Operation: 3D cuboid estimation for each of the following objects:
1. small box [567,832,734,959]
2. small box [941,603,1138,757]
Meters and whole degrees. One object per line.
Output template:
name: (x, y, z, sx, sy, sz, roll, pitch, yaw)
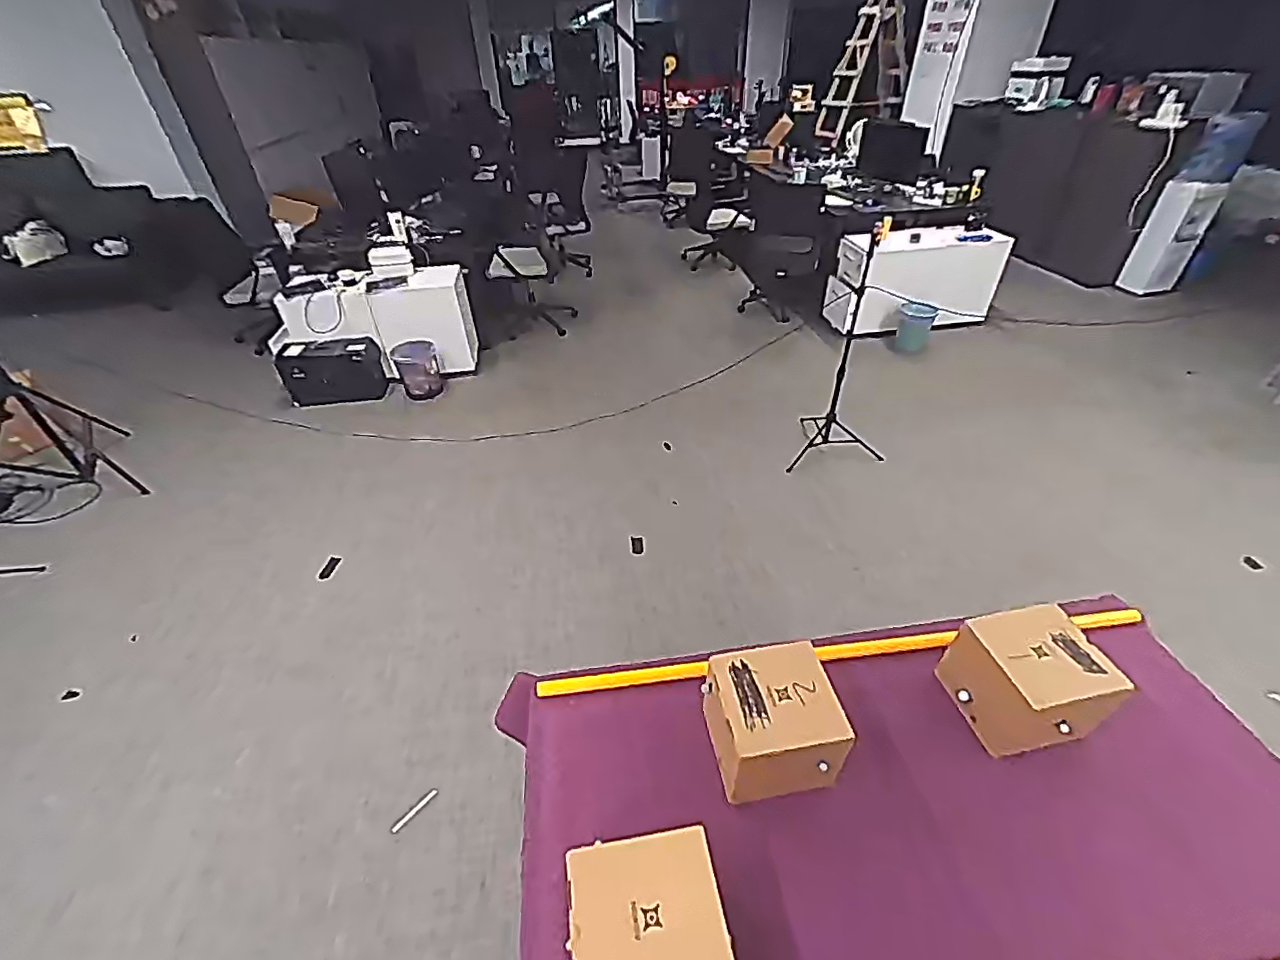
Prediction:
small box: (0.009, 0.562, 0.655, 0.179, 0.176, 0.168, -7, 38, -7)
small box: (0.648, 0.334, 0.905, 0.179, 0.176, 0.168, -9, 40, -7)
